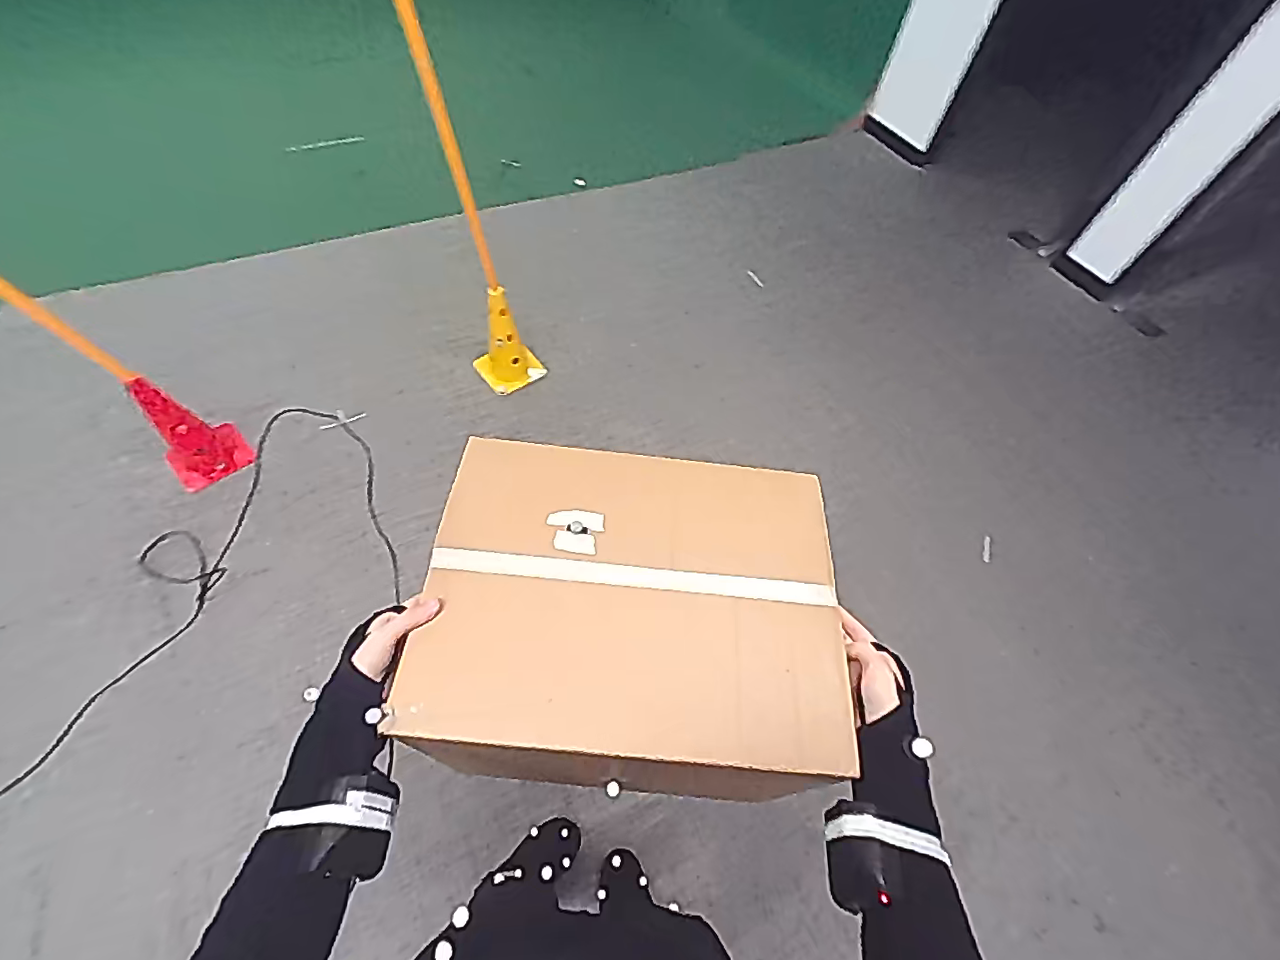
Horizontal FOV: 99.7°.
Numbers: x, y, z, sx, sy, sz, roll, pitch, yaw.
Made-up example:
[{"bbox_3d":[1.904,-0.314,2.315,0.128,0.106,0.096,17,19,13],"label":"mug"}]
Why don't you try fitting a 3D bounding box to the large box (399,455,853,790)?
[{"bbox_3d":[-0.011,0.193,0.673,0.408,0.320,0.320,5,55,-1],"label":"large box"}]
